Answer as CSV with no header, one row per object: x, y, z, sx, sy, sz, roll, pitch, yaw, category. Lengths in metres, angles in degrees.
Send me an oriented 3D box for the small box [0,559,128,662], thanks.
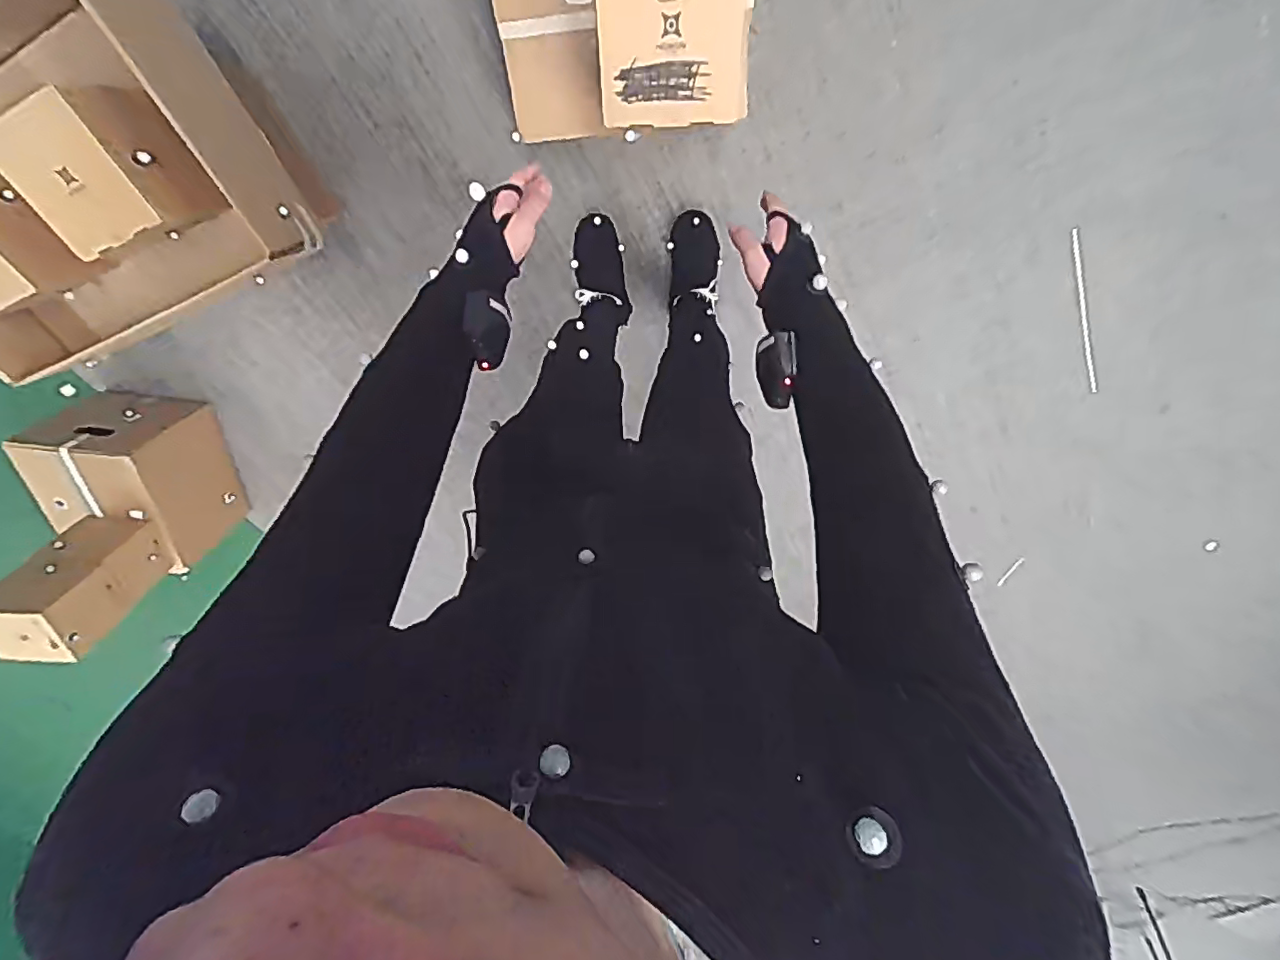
-1.394,0.304,1.281,0.179,0.176,0.168,5,124,-3,small box

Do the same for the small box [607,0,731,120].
0.042,-0.645,0.799,0.168,0.176,0.179,-1,126,2,small box

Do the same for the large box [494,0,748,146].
-0.023,-0.819,0.979,0.408,0.320,0.320,-4,124,5,large box

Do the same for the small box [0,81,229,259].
-0.789,-0.463,0.812,0.168,0.176,0.179,-17,124,13,small box

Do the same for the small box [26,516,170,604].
-1.403,0.211,1.416,0.179,0.176,0.168,5,125,-4,small box
